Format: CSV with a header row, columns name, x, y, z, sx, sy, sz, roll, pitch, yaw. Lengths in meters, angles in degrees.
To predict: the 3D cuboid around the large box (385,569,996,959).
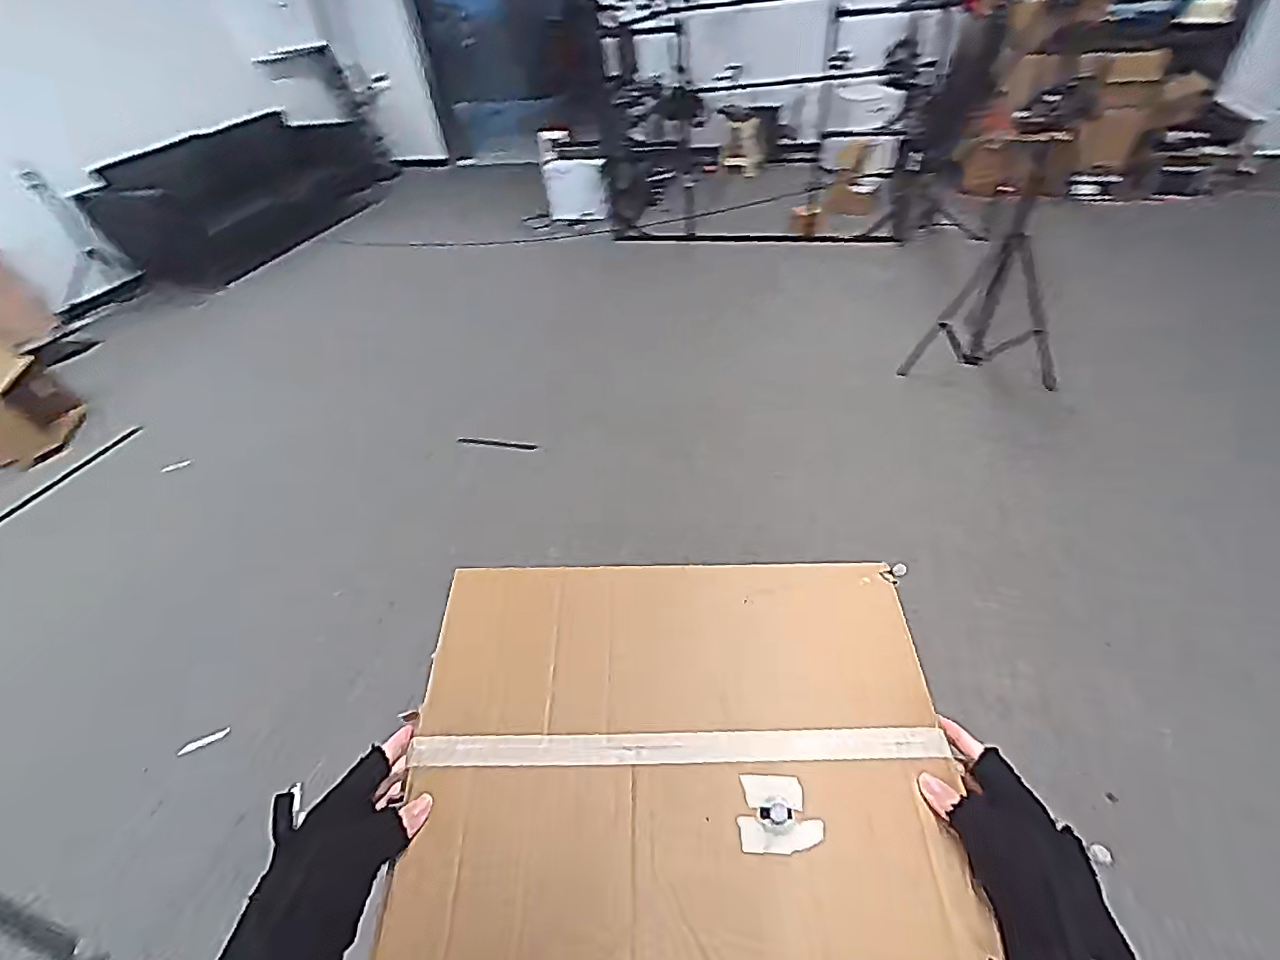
name,x,y,z,sx,sy,sz,roll,pitch,yaw
large box,0.028,0.306,0.544,0.408,0.320,0.320,-2,52,0
